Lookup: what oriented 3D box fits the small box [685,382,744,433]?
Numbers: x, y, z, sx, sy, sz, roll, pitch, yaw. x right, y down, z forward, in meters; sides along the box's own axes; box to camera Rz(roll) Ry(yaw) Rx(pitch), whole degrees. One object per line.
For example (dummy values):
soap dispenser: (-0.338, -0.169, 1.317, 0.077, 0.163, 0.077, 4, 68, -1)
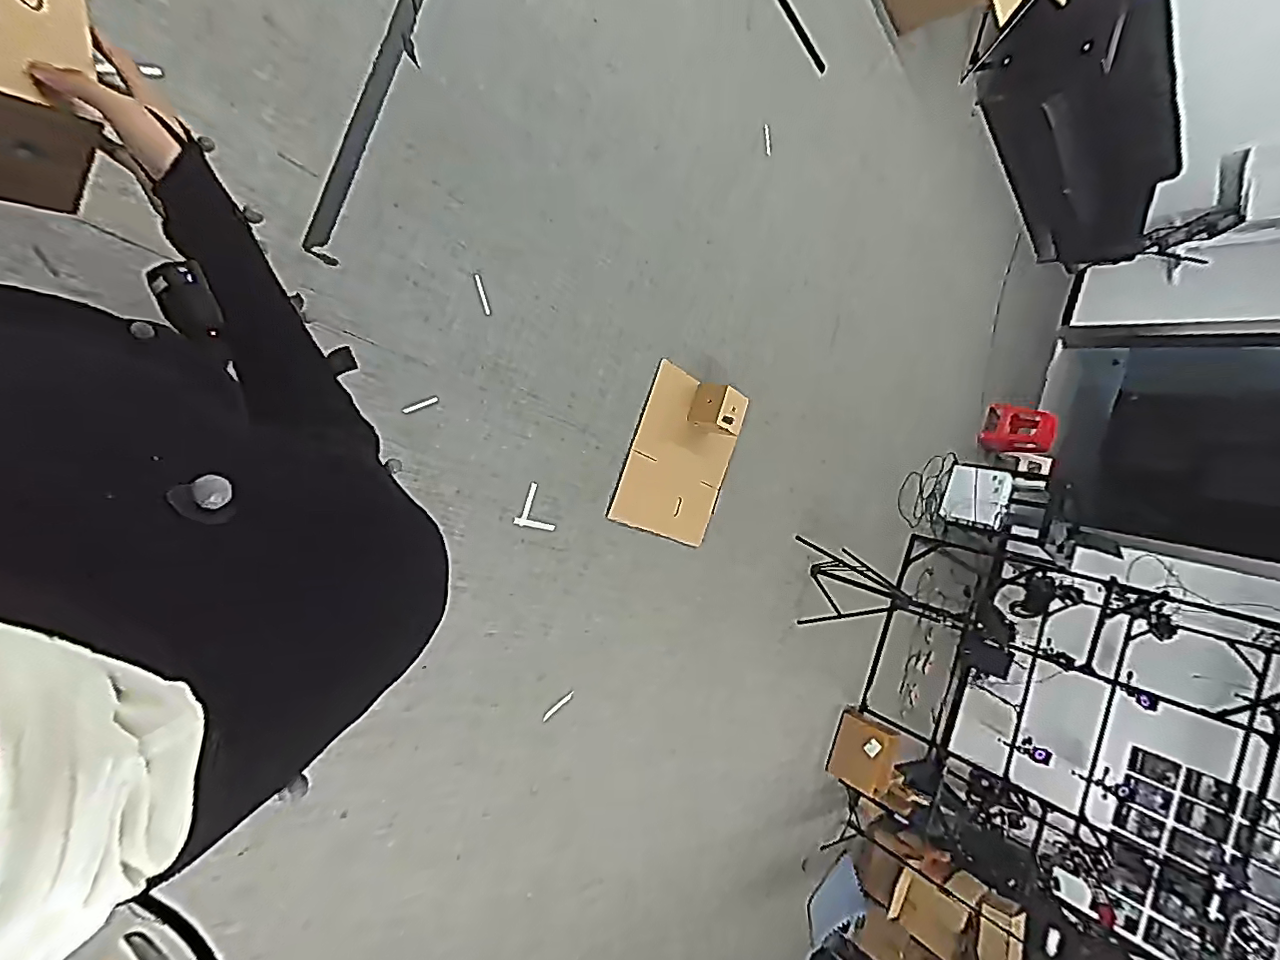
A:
small box: (0.322, -0.319, 2.363, 0.168, 0.176, 0.179, 22, 84, -43)
